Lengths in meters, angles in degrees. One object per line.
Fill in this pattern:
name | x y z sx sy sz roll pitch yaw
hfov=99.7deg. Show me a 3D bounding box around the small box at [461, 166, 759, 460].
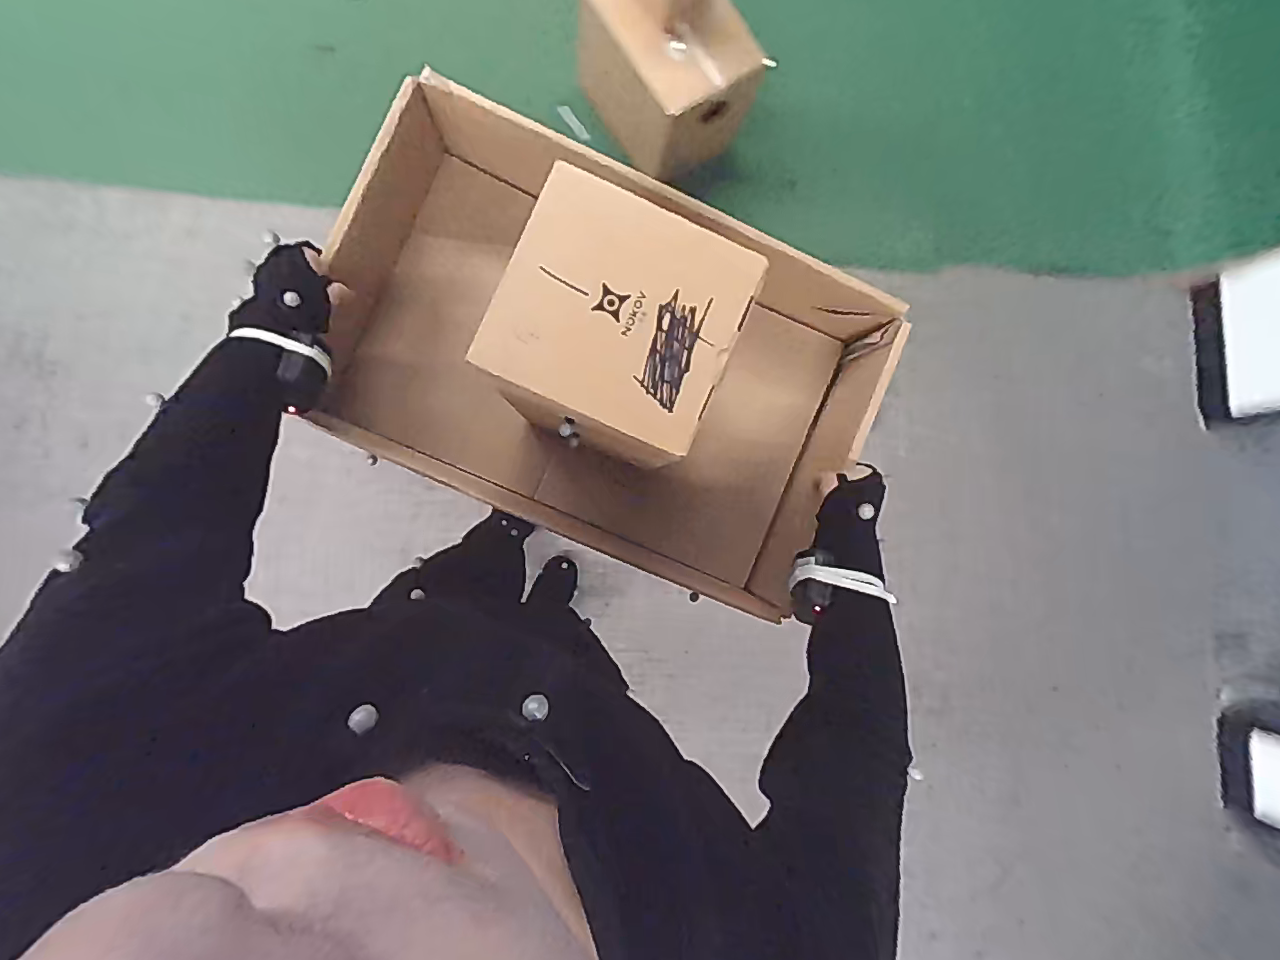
small box | -0.025 -0.124 0.477 0.179 0.176 0.168 23 88 -3
